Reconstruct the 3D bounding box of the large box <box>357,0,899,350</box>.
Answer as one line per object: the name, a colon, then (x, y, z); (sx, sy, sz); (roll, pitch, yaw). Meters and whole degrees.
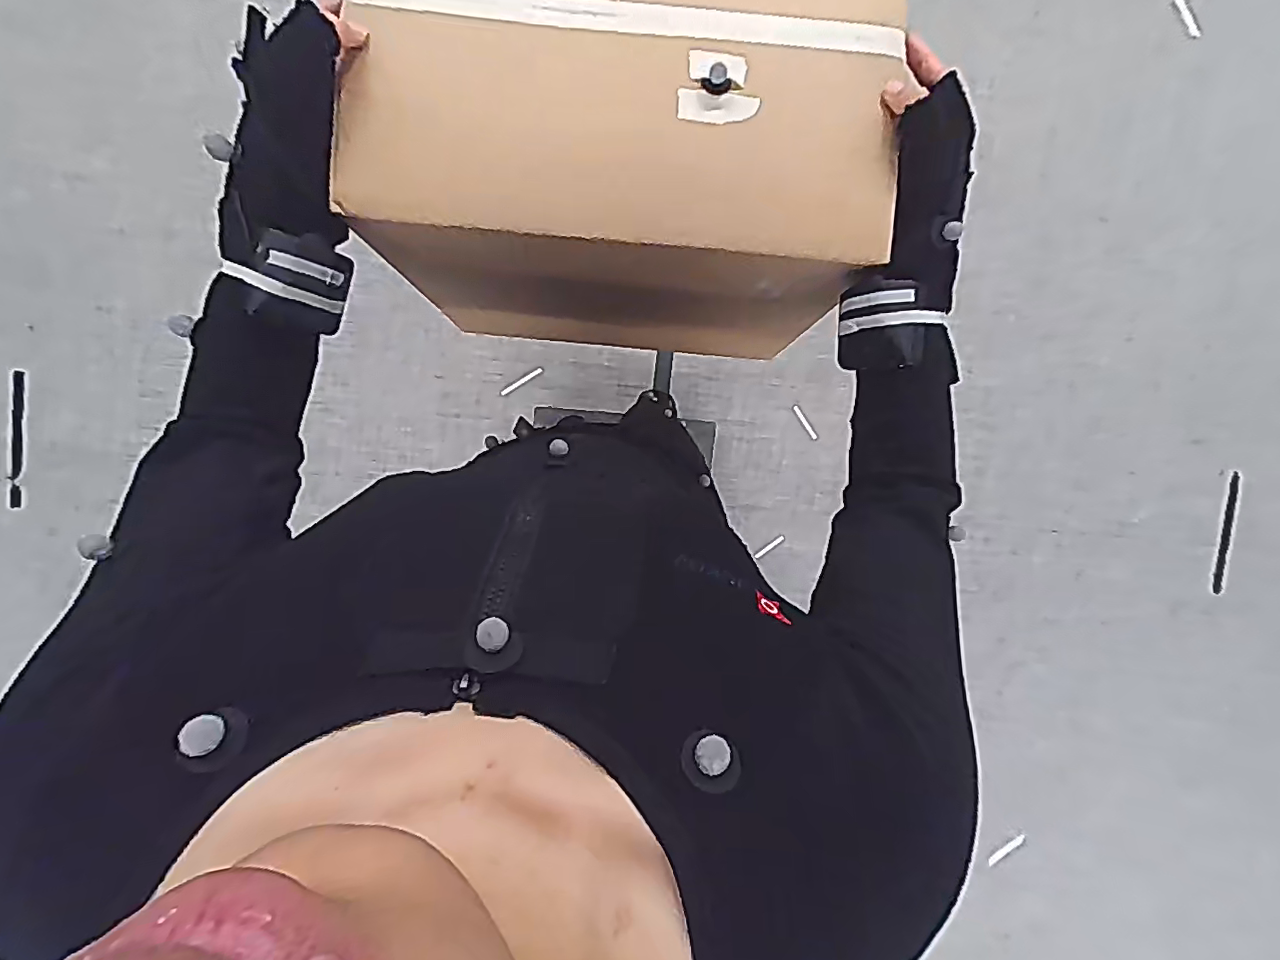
large box: (-0.010, -0.334, 0.555); (0.408, 0.320, 0.320); (4, 90, -2)
